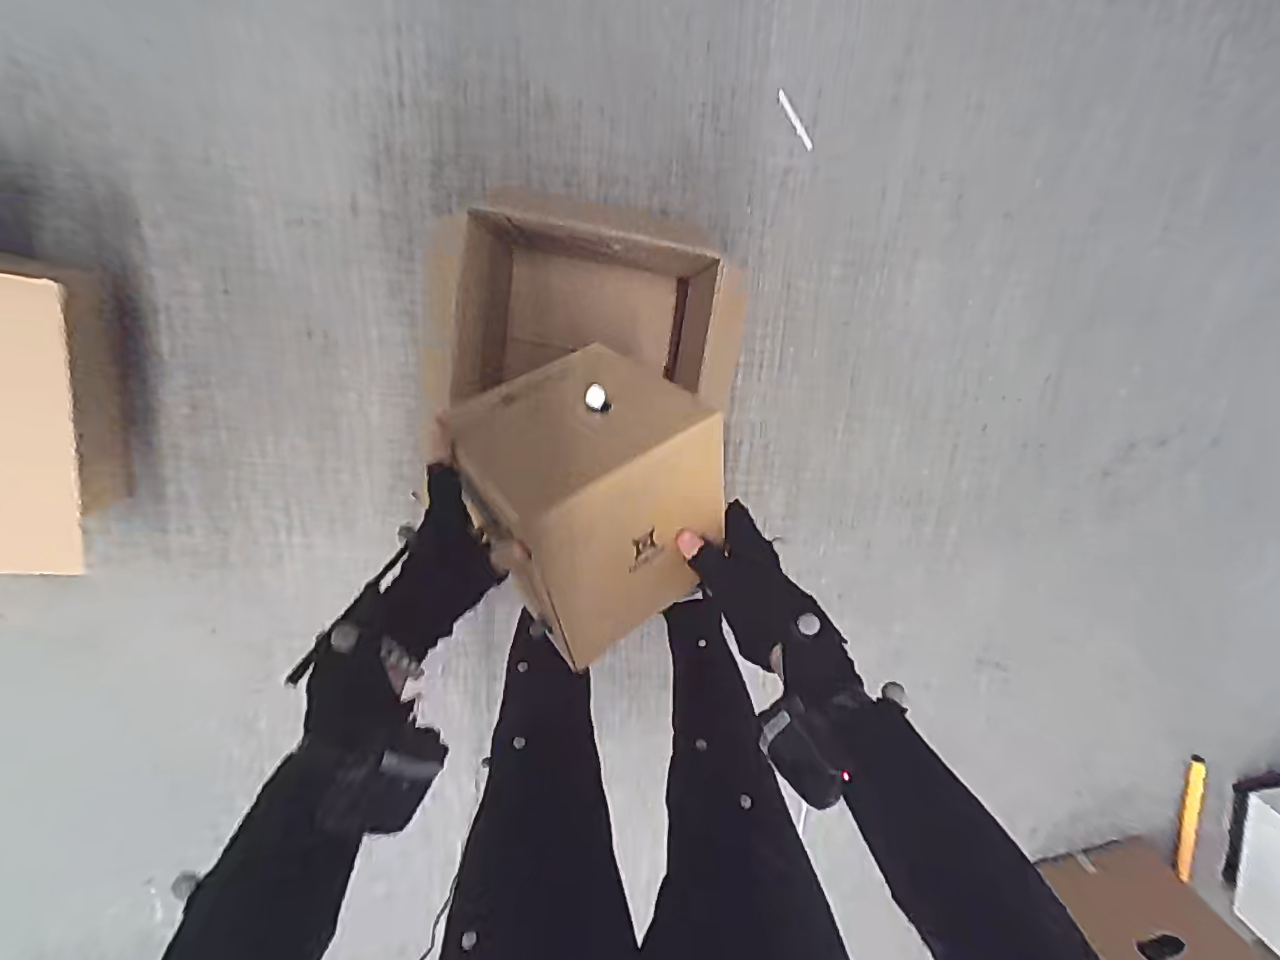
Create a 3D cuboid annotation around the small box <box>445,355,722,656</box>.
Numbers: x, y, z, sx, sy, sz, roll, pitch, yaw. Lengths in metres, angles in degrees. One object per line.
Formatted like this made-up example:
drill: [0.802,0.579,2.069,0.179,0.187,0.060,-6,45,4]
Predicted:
small box: [-0.046,0.007,0.472,0.168,0.176,0.179,-28,134,-24]
